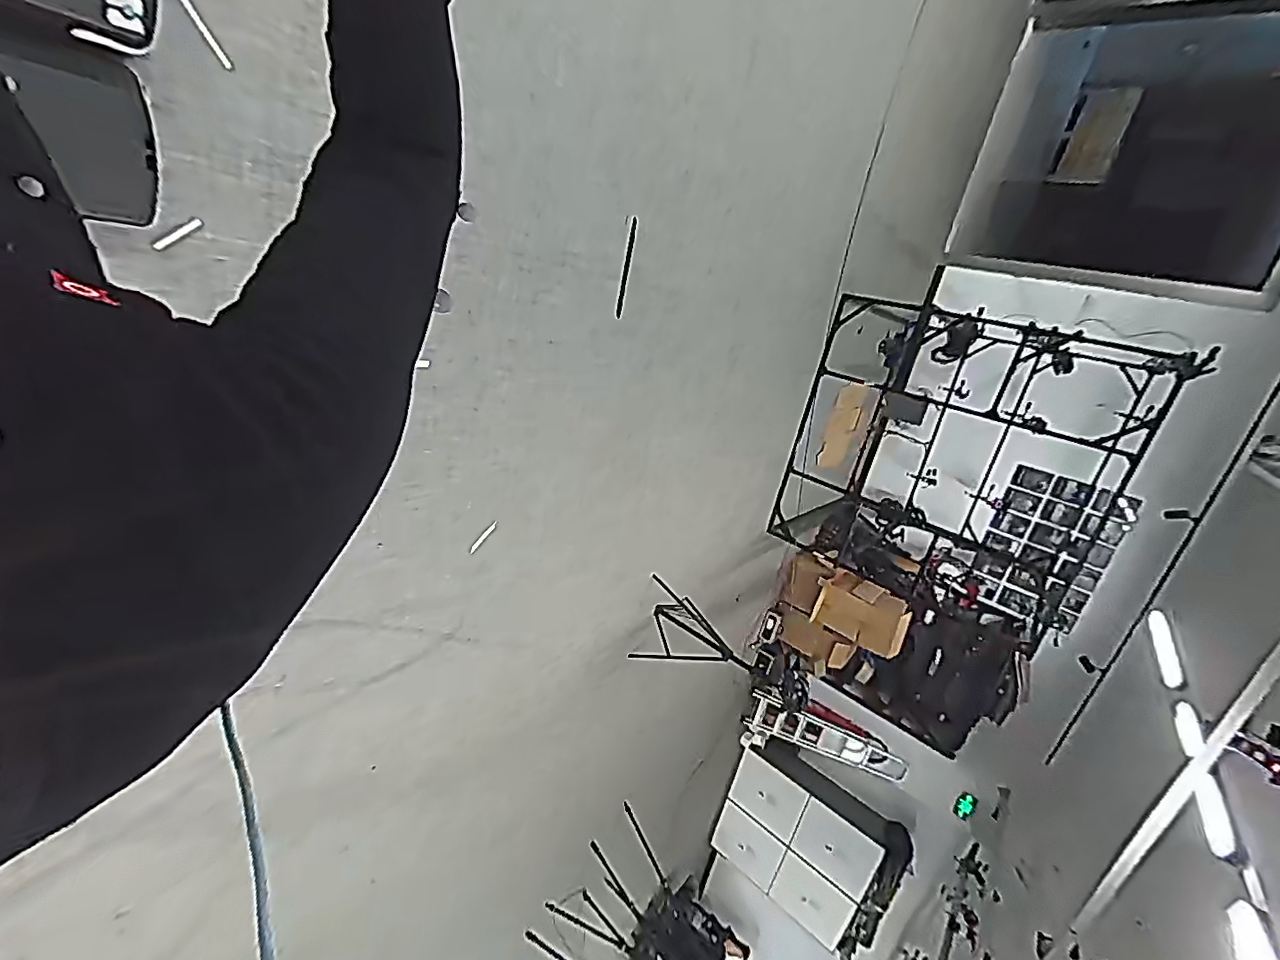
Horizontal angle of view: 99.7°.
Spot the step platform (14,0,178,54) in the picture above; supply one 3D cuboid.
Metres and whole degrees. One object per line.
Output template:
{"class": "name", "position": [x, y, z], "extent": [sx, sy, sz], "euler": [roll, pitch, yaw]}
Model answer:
{"class": "step platform", "position": [-1.052, -0.858, 0.704], "extent": [0.684, 0.204, 0.286], "euler": [-16, 124, -50]}
